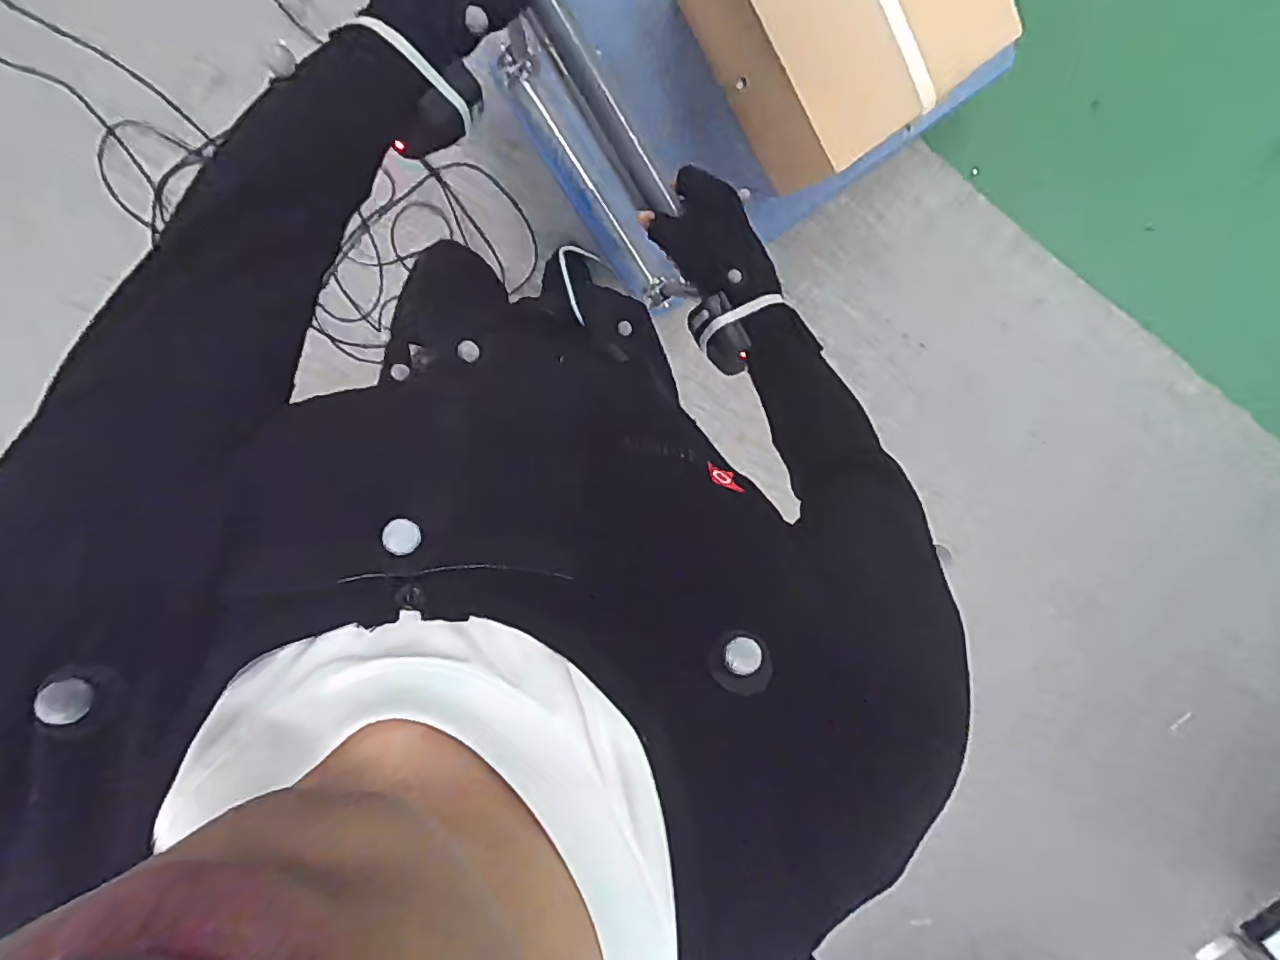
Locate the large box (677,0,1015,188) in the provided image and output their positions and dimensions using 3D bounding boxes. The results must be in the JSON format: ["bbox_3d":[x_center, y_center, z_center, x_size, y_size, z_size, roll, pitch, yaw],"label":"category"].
[{"bbox_3d":[0.305,-0.772,0.890,0.320,0.320,0.408,-35,110,10],"label":"large box"}]
